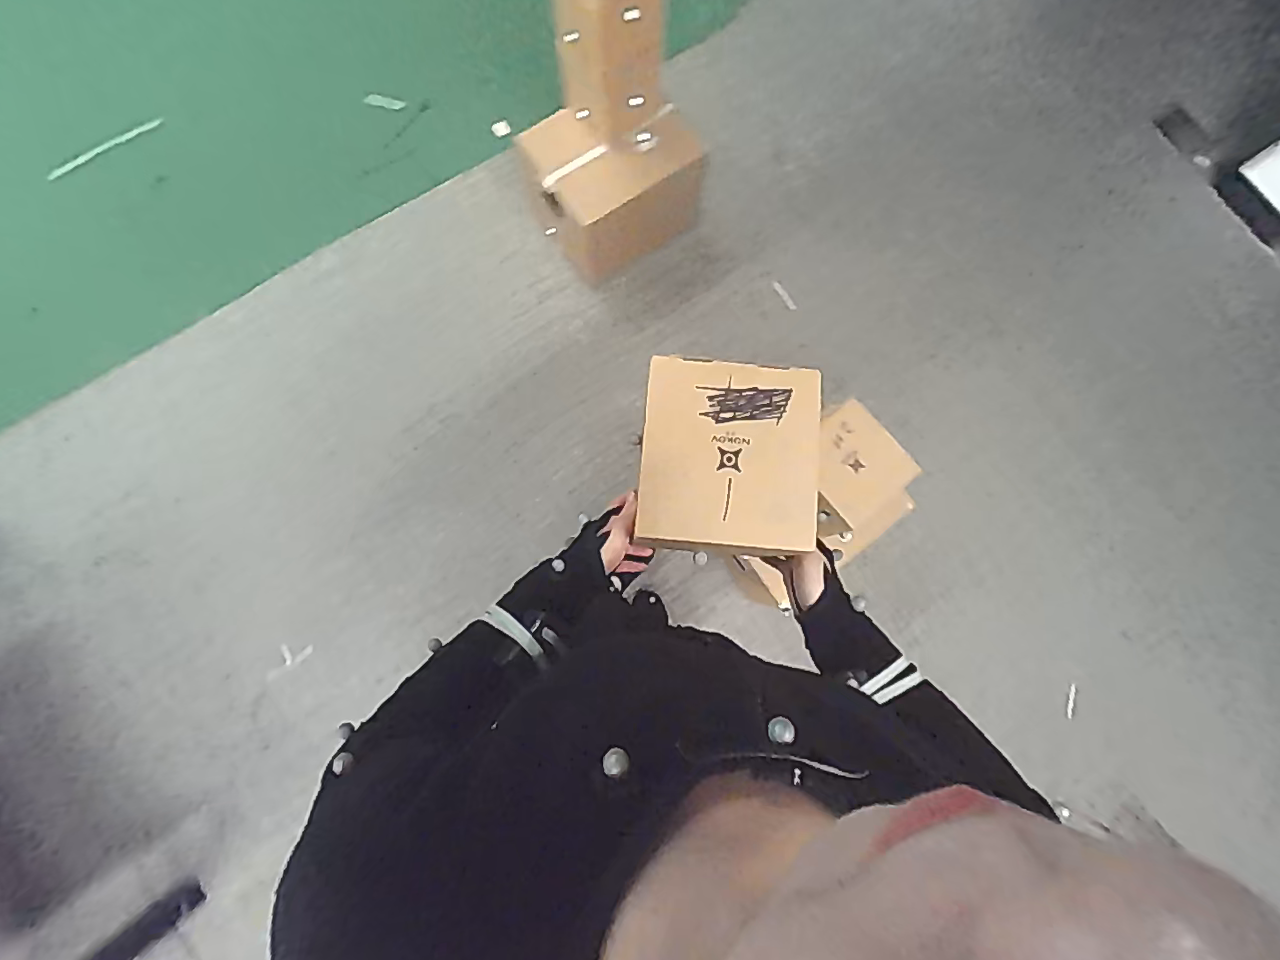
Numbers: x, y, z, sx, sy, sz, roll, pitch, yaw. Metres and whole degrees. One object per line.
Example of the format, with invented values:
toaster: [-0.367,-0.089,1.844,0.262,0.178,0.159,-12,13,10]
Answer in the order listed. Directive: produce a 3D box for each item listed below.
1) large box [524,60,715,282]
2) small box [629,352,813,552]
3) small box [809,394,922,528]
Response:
large box: [-0.058,-0.848,1.526,0.408,0.320,0.320,-35,83,-8]
small box: [0.076,-0.018,0.581,0.168,0.176,0.179,4,81,-1]
small box: [0.366,-0.024,1.000,0.168,0.176,0.179,-38,82,-8]
